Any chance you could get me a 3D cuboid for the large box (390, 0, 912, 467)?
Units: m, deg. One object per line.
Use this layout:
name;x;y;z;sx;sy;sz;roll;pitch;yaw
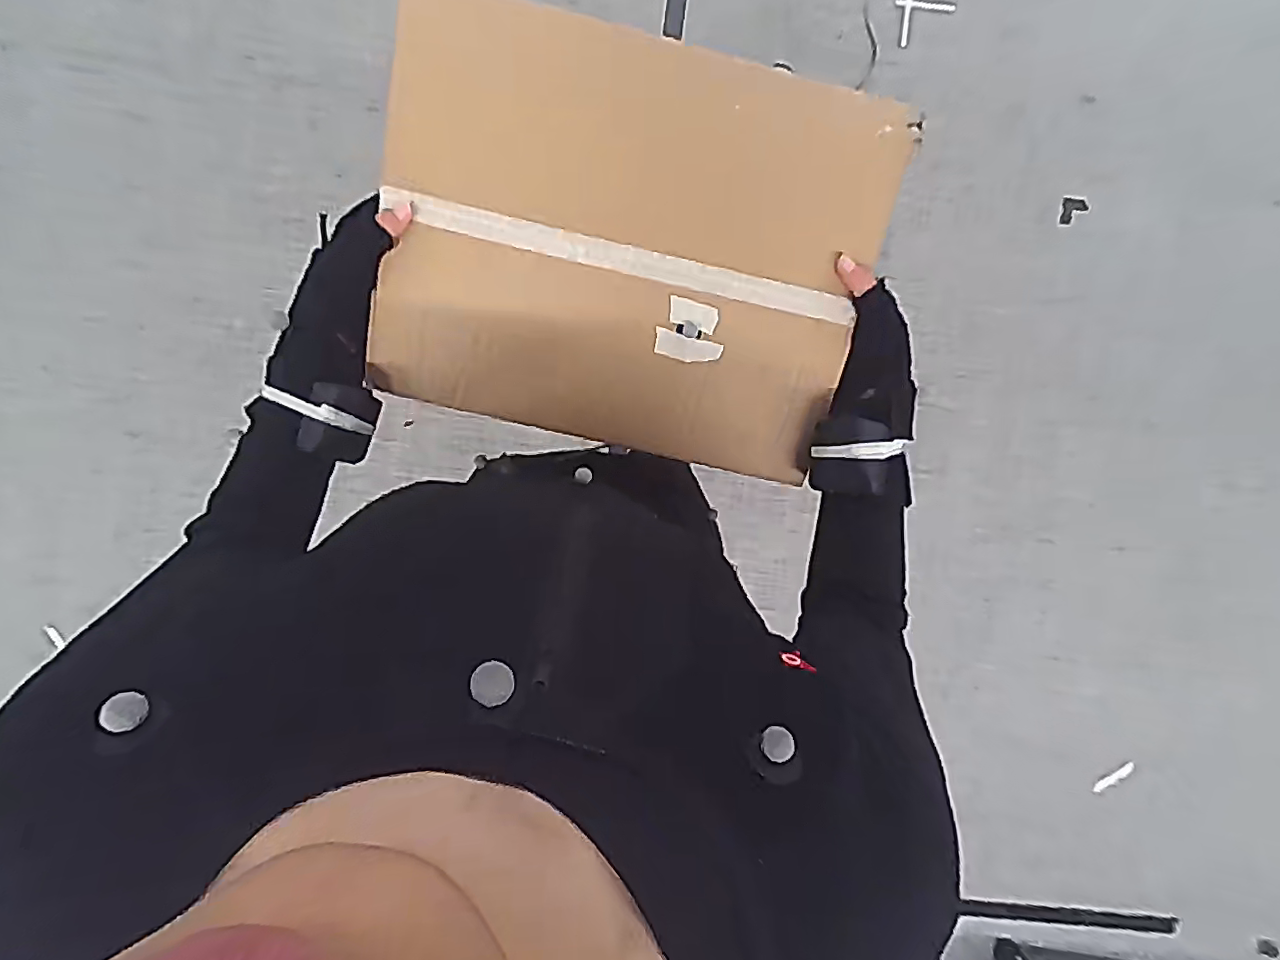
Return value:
large box;-0.006;-0.236;0.608;0.408;0.320;0.320;13;107;-4
